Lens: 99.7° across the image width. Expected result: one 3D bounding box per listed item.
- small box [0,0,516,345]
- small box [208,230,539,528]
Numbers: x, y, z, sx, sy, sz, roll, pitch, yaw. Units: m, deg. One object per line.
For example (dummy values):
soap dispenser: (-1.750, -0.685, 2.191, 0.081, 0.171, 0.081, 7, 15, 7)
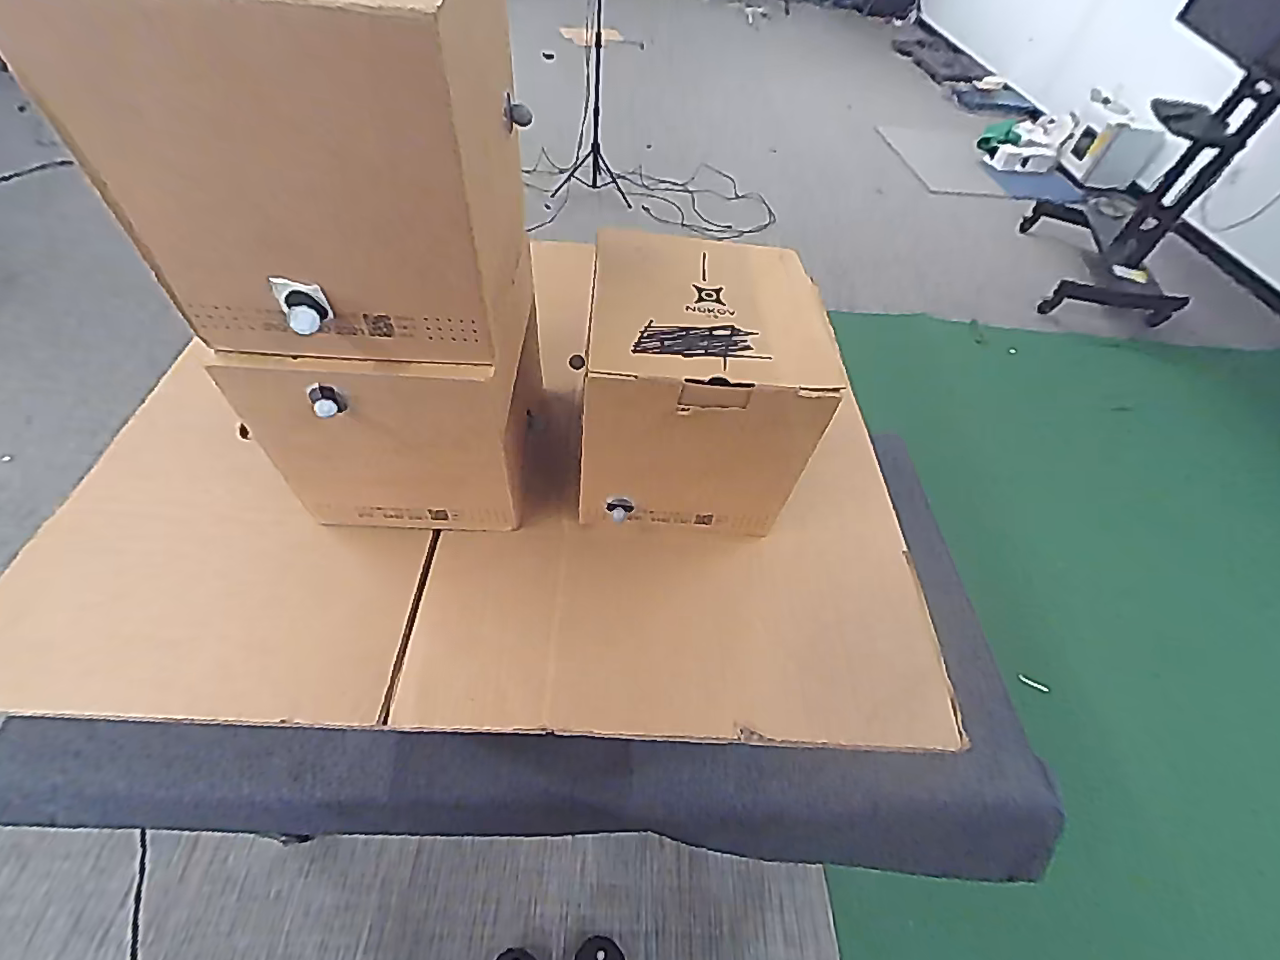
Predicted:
small box: (-0.164, -0.198, 0.297, 0.168, 0.176, 0.179, 0, 54, -5)
small box: (-0.177, -0.083, 0.432, 0.168, 0.176, 0.179, 2, 52, -2)
